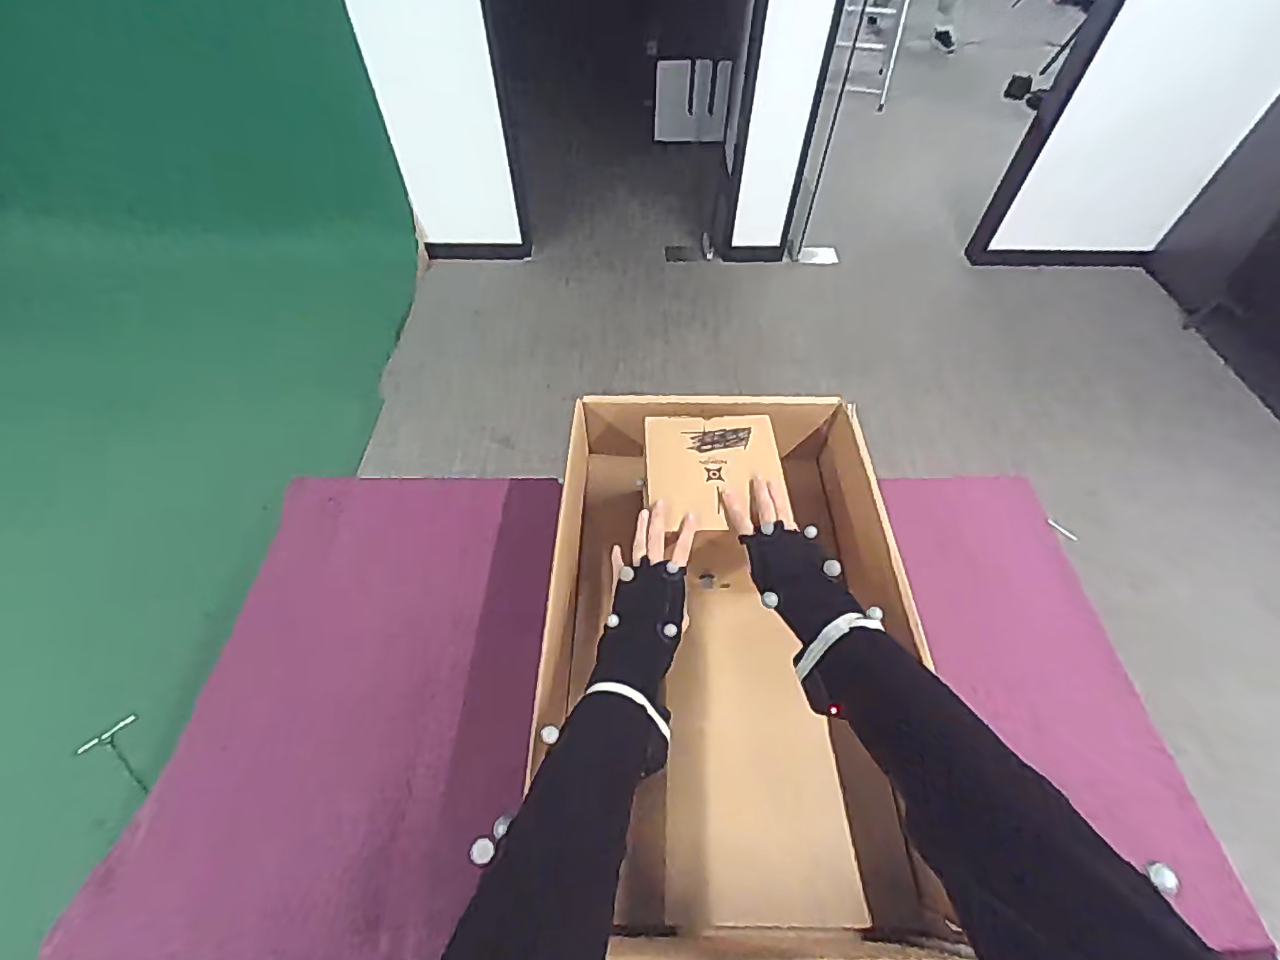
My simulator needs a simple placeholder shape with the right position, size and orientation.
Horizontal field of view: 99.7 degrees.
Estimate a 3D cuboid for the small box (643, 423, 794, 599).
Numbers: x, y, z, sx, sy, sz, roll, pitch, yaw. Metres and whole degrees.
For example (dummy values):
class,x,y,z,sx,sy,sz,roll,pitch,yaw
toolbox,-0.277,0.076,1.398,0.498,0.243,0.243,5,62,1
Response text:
class,x,y,z,sx,sy,sz,roll,pitch,yaw
small box,0.089,0.044,0.720,0.168,0.176,0.179,-1,55,-1
